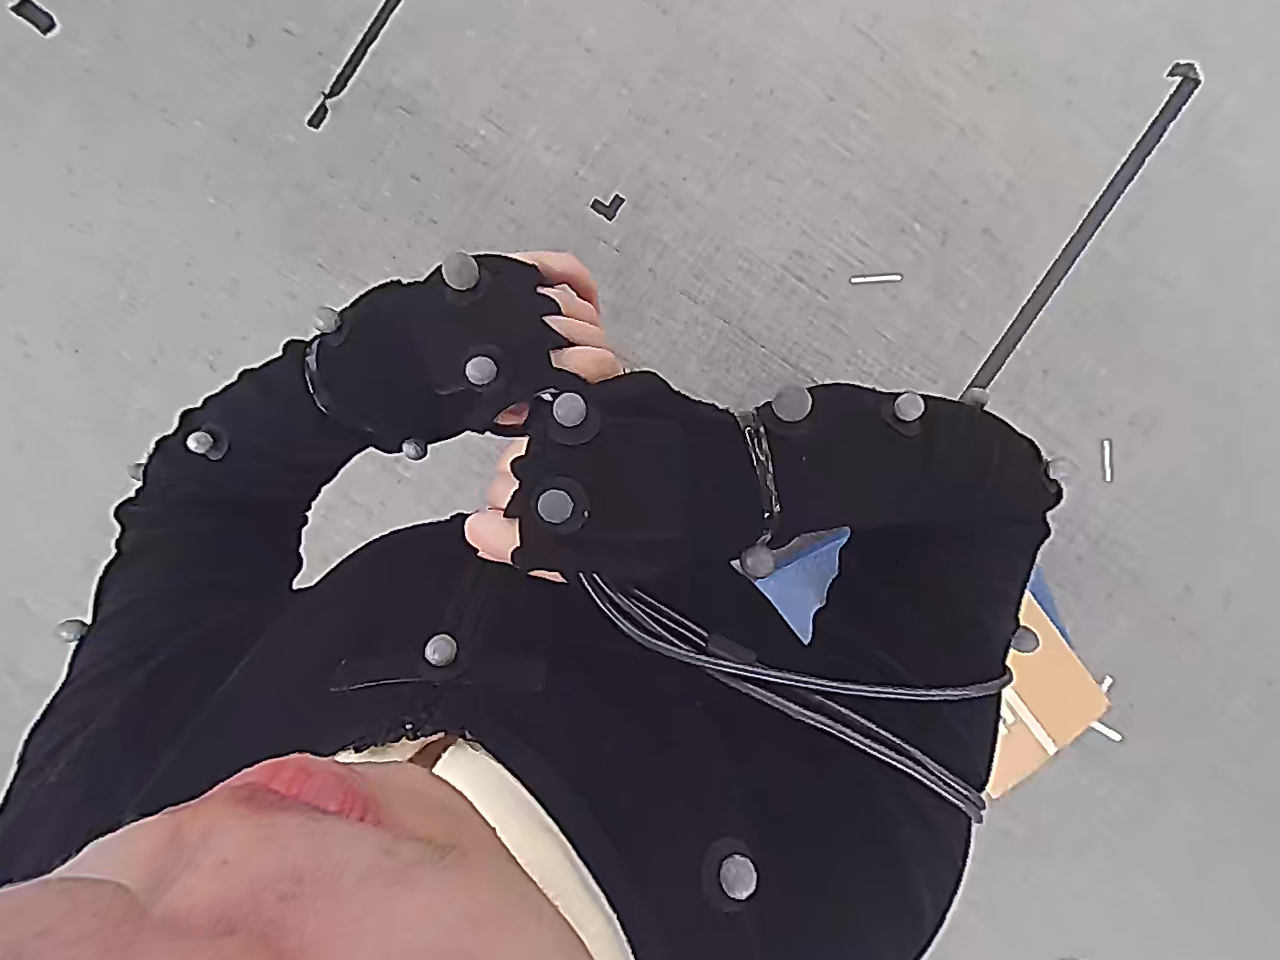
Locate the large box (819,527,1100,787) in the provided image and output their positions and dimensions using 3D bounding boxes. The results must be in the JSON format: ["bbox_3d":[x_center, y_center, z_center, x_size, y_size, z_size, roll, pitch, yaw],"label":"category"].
[{"bbox_3d":[0.691,0.372,1.232,0.320,0.320,0.408,-38,96,1],"label":"large box"}]
